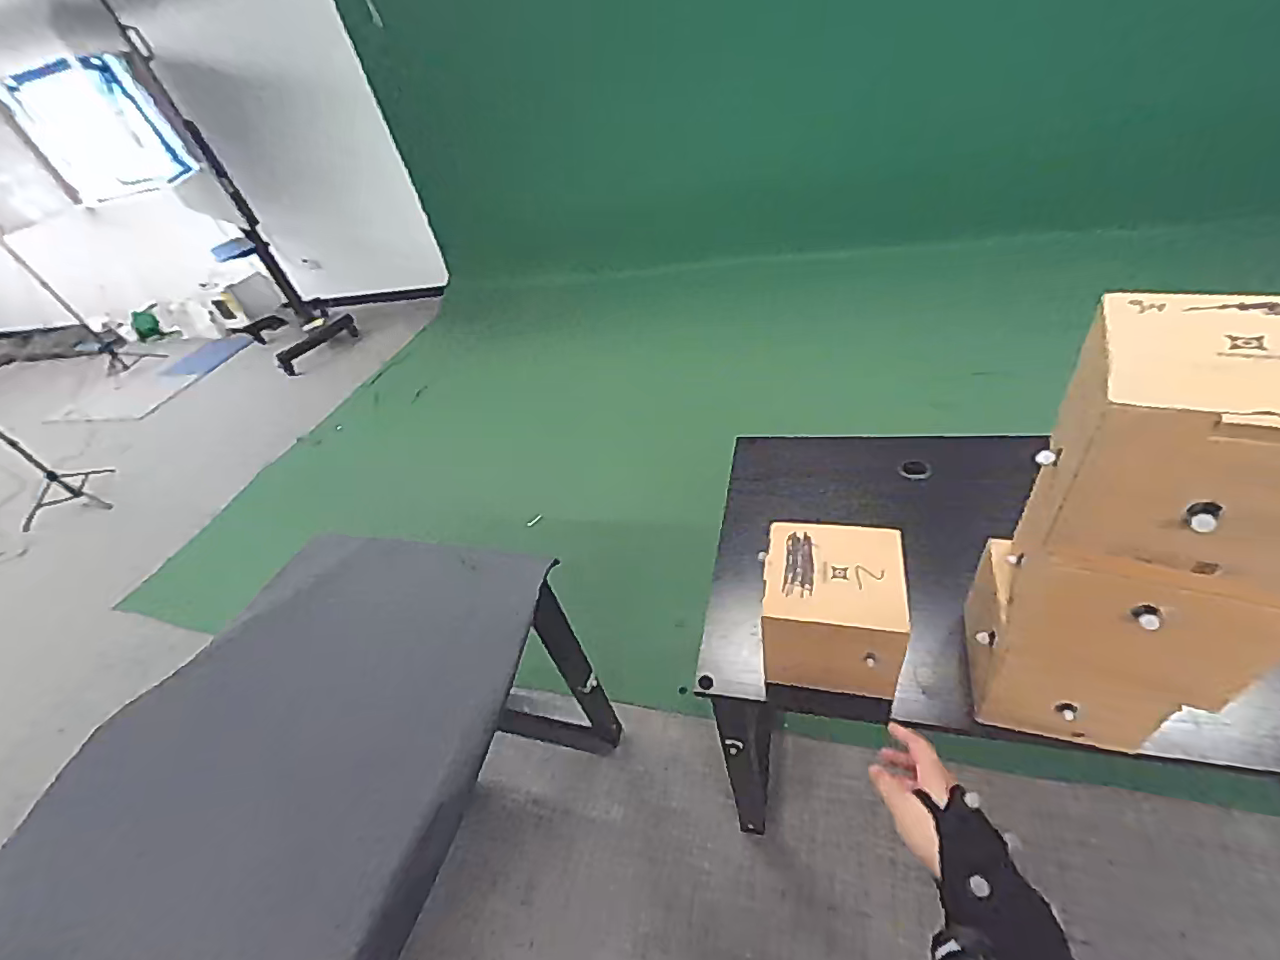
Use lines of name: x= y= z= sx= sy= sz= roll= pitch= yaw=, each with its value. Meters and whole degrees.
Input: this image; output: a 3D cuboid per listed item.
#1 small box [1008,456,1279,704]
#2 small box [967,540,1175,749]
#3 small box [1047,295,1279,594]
small box: x=0.494 y=0.096 z=0.541 sx=0.179 sy=0.176 sz=0.168 roll=10 pitch=47 yaw=27
small box: x=0.518 y=0.200 z=0.665 sx=0.168 sy=0.176 sz=0.179 roll=5 pitch=44 yaw=21
small box: x=0.459 y=-0.034 z=0.446 sx=0.168 sy=0.176 sz=0.179 roll=12 pitch=49 yaw=29
